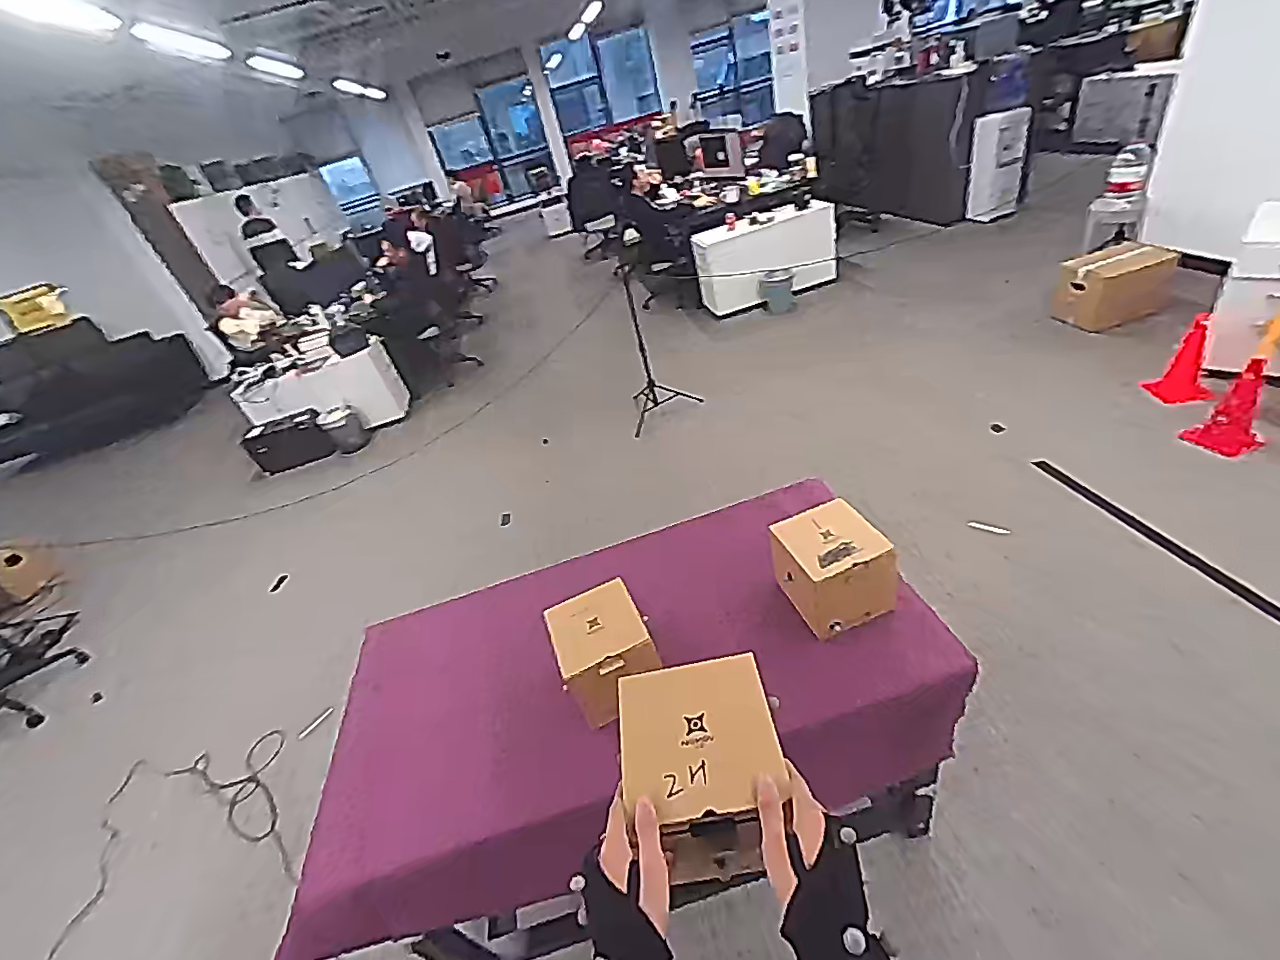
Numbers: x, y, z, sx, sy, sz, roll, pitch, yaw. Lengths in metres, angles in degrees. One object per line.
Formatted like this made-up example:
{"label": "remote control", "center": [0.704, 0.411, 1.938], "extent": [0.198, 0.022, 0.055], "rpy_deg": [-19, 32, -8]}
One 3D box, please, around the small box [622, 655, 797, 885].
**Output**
{"label": "small box", "center": [0.077, 0.336, 0.629], "extent": [0.168, 0.176, 0.179], "rpy_deg": [-12, 40, 4]}

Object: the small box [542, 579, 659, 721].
{"label": "small box", "center": [-0.069, 0.331, 1.039], "extent": [0.168, 0.176, 0.179], "rpy_deg": [-23, 35, -9]}

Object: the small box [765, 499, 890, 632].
{"label": "small box", "center": [0.370, 0.174, 1.068], "extent": [0.168, 0.176, 0.179], "rpy_deg": [-21, 34, -6]}
